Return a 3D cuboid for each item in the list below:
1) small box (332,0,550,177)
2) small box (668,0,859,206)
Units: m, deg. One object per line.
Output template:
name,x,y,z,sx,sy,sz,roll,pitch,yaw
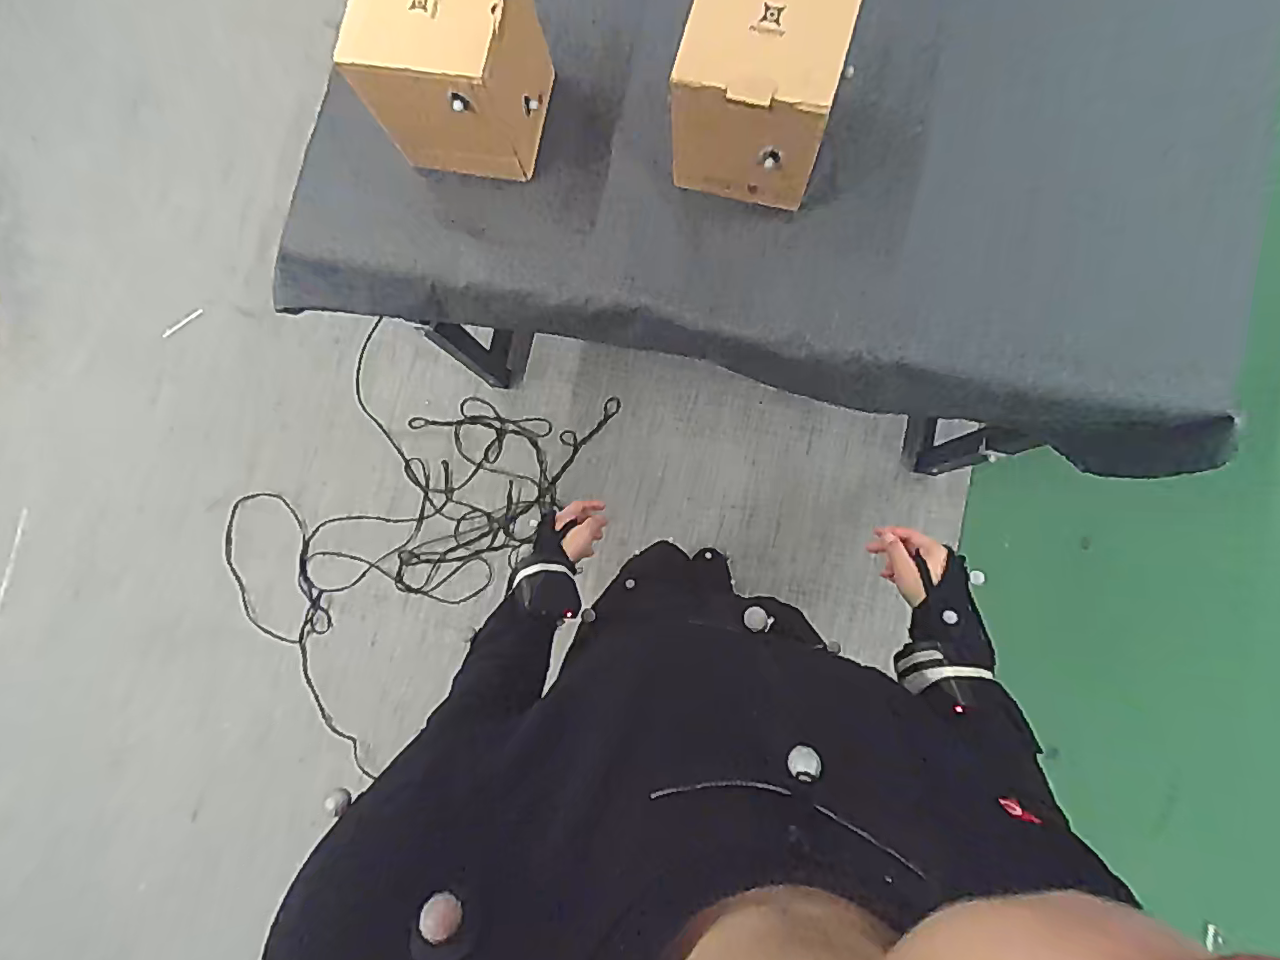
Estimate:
small box,-0.226,-0.503,0.660,0.179,0.176,0.168,10,84,5
small box,0.136,-0.453,0.622,0.168,0.176,0.179,16,84,6
